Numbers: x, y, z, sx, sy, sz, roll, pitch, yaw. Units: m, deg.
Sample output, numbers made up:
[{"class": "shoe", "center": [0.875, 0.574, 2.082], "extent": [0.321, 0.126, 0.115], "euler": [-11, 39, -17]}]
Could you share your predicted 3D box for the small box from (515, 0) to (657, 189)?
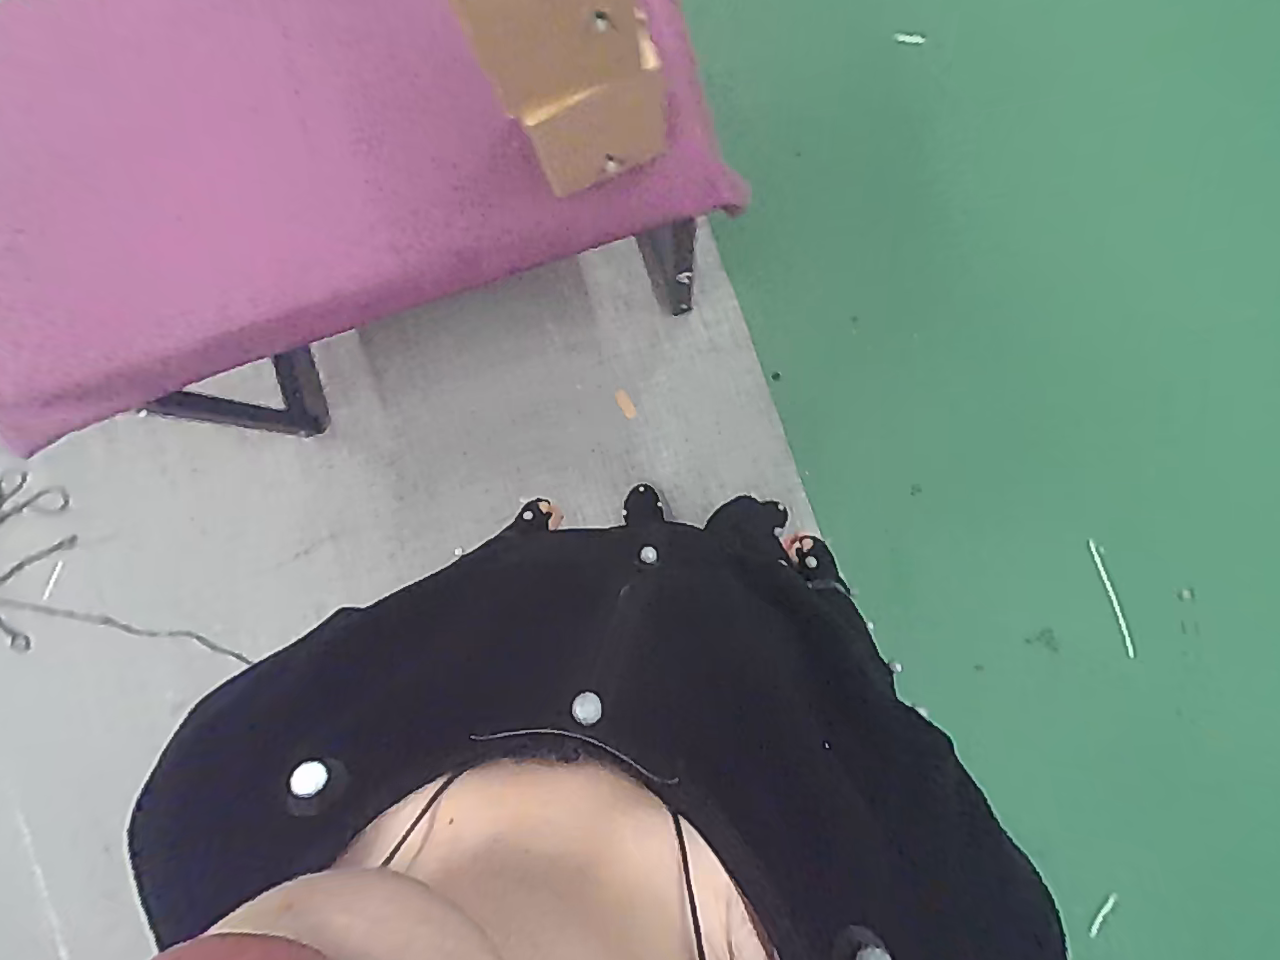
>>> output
[{"class": "small box", "center": [-0.085, -0.531, 0.716], "extent": [0.179, 0.176, 0.168], "euler": [-22, 87, 4]}]

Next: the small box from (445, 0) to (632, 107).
[{"class": "small box", "center": [-0.112, -0.537, 0.554], "extent": [0.179, 0.176, 0.168], "euler": [-17, 88, 5]}]
